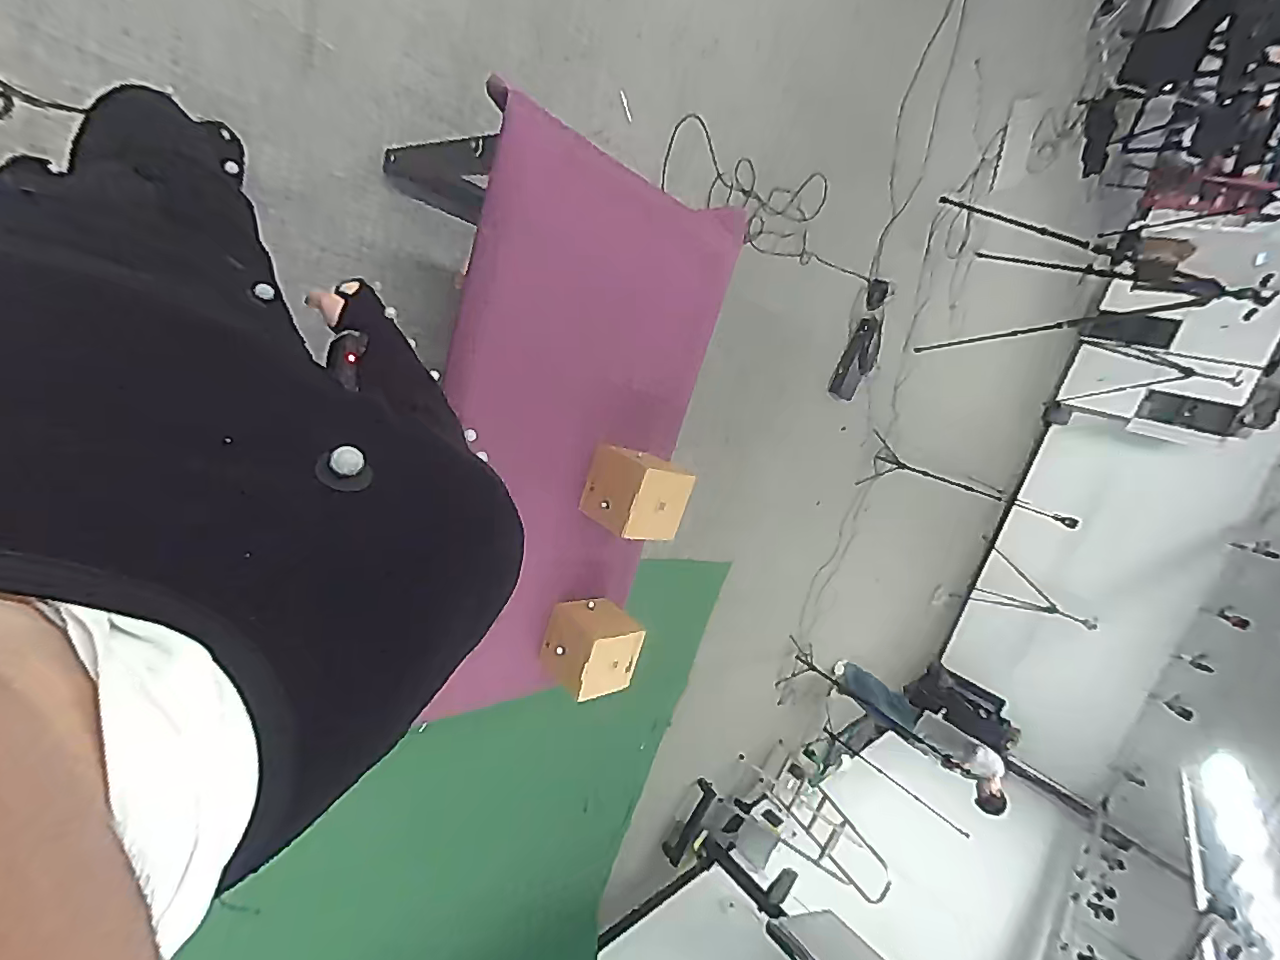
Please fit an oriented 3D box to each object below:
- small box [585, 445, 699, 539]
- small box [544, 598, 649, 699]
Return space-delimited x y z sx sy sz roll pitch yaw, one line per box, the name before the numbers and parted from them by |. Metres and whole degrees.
small box | -0.001 0.027 1.252 0.179 0.176 0.168 9 105 -47
small box | -0.112 0.408 1.342 0.179 0.176 0.168 6 106 -45
